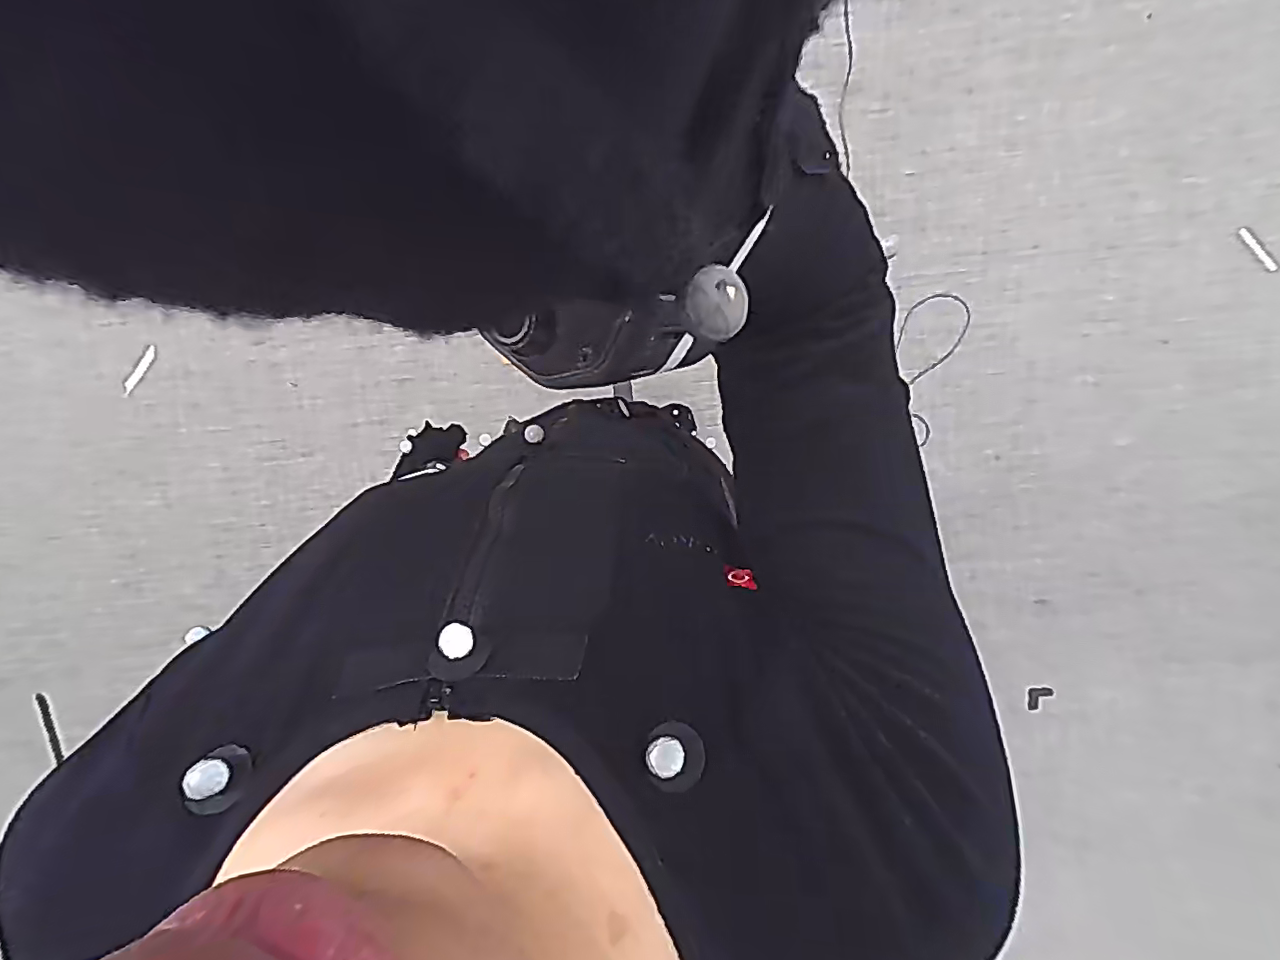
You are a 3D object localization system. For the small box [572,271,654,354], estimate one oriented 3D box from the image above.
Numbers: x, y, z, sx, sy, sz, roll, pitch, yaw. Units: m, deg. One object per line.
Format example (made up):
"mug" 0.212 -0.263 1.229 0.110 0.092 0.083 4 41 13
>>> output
"small box" -0.061 -0.403 1.323 0.179 0.176 0.168 -7 100 3
